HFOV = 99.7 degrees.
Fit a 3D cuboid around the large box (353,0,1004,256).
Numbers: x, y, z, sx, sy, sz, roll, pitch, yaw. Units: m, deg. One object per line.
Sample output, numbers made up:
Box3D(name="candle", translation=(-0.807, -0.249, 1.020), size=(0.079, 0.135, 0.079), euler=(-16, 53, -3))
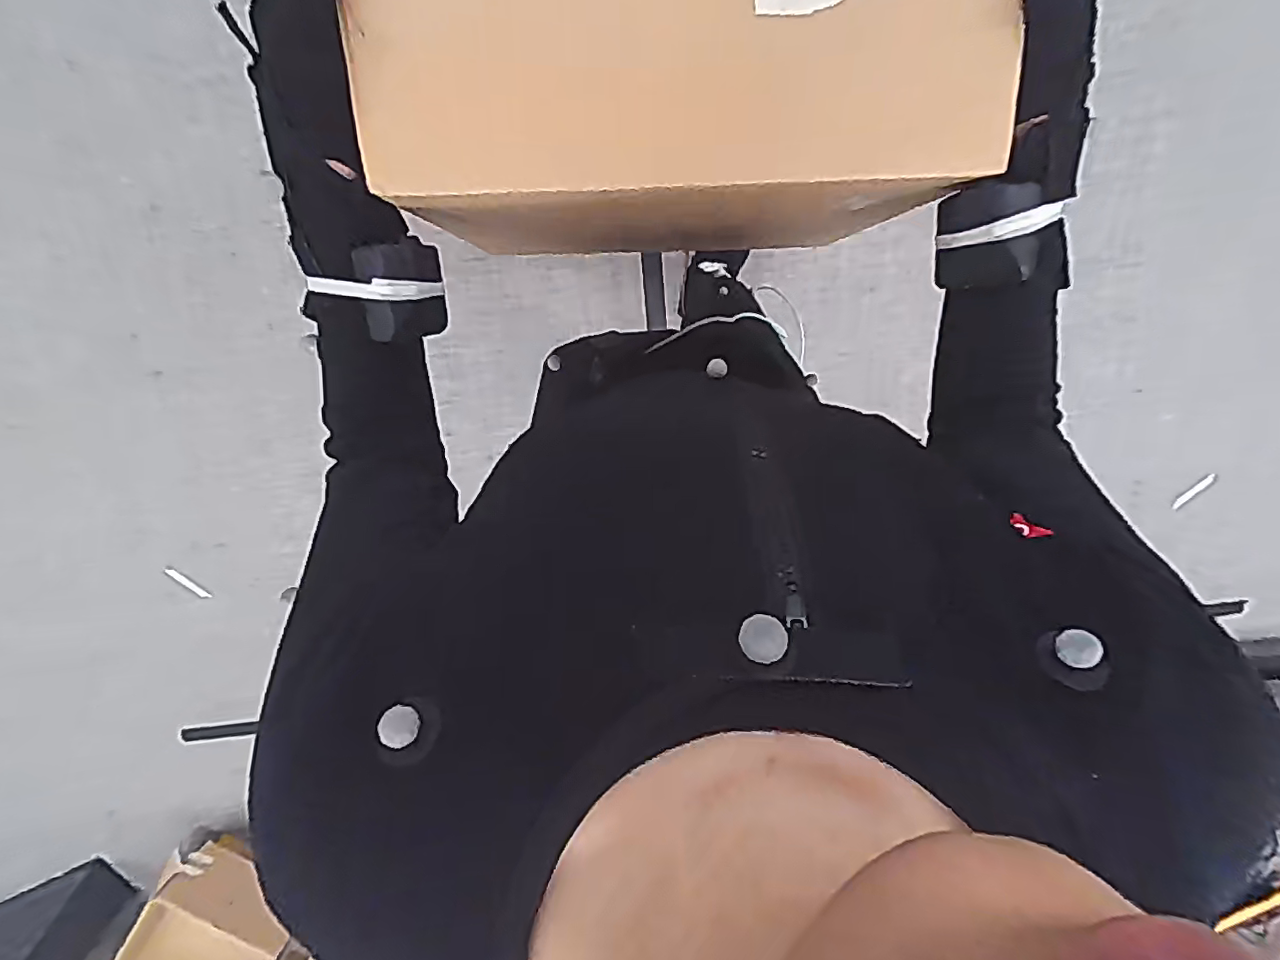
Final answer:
Box3D(name="large box", translation=(0.018, -0.381, 0.456), size=(0.408, 0.320, 0.320), euler=(-3, 107, -1))
